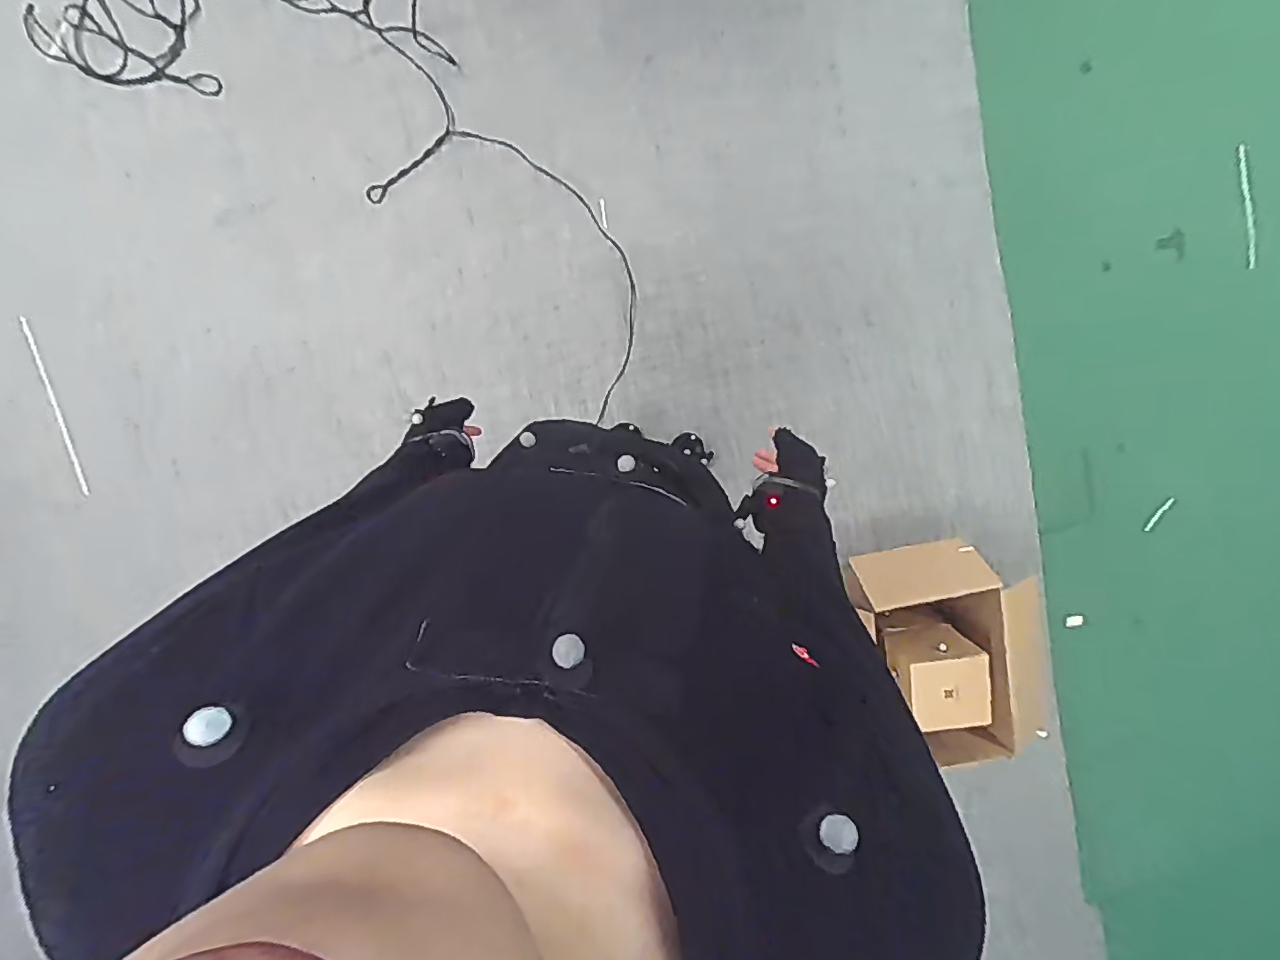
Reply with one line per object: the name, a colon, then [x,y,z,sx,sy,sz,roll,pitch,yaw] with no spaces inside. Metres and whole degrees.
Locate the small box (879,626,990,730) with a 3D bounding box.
small box: [0.681,0.459,1.273,0.179,0.176,0.168,-8,96,0]
